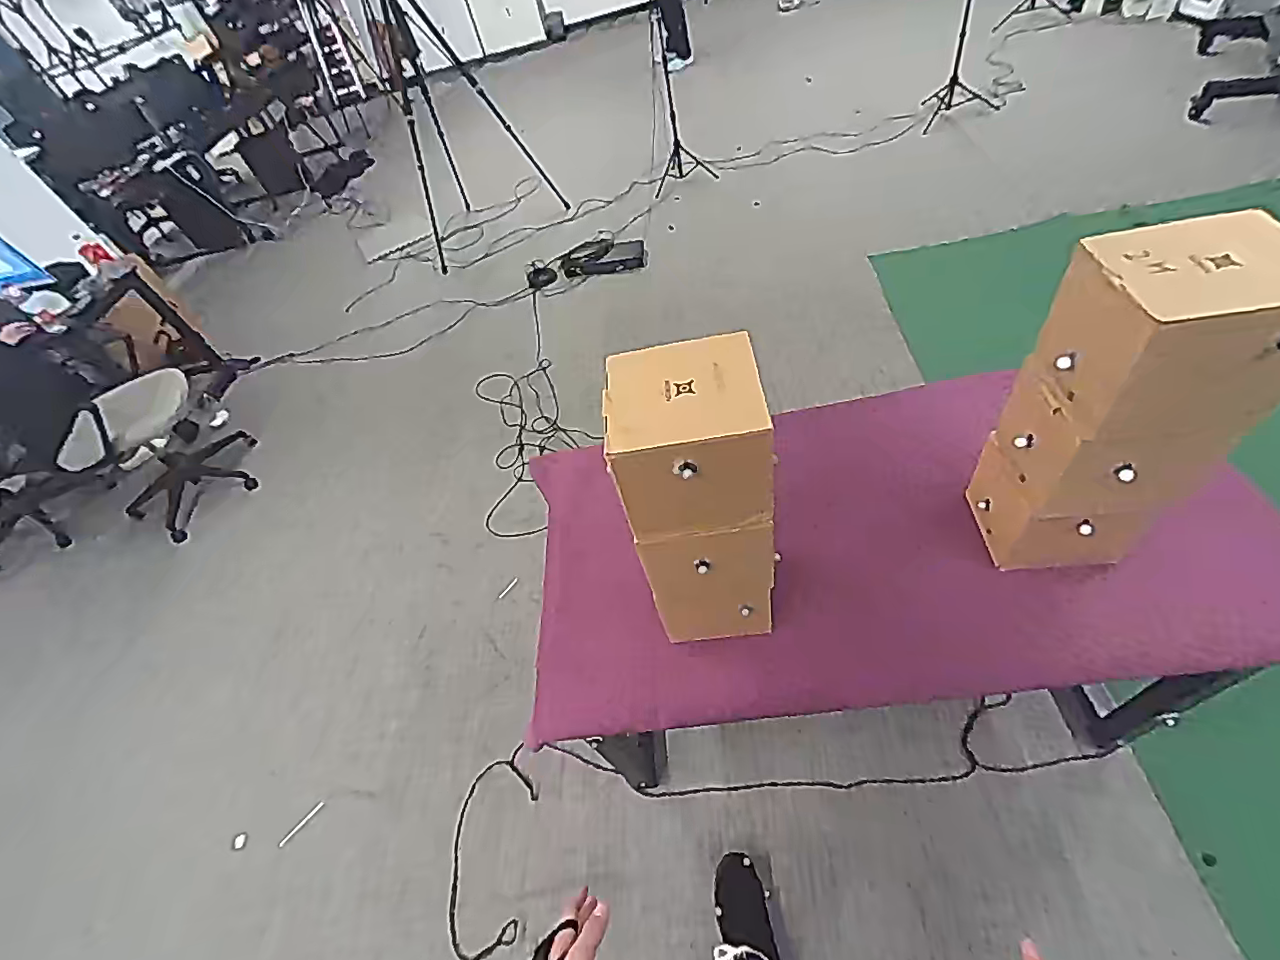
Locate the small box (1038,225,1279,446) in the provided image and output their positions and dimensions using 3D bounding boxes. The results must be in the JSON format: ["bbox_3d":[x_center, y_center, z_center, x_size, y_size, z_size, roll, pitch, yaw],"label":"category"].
[{"bbox_3d":[0.605,-0.157,0.615,0.179,0.176,0.168,-6,49,11],"label":"small box"}]

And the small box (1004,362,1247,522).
[{"bbox_3d":[0.633,-0.055,0.743,0.179,0.176,0.168,-5,50,12],"label":"small box"}]

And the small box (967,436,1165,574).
[{"bbox_3d":[0.665,0.039,0.873,0.179,0.176,0.168,-5,50,11],"label":"small box"}]

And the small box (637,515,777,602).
[{"bbox_3d":[0.095,0.059,0.781,0.179,0.176,0.168,-9,49,7],"label":"small box"}]

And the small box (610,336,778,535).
[{"bbox_3d":[0.068,-0.046,0.659,0.179,0.176,0.168,-7,50,7],"label":"small box"}]
